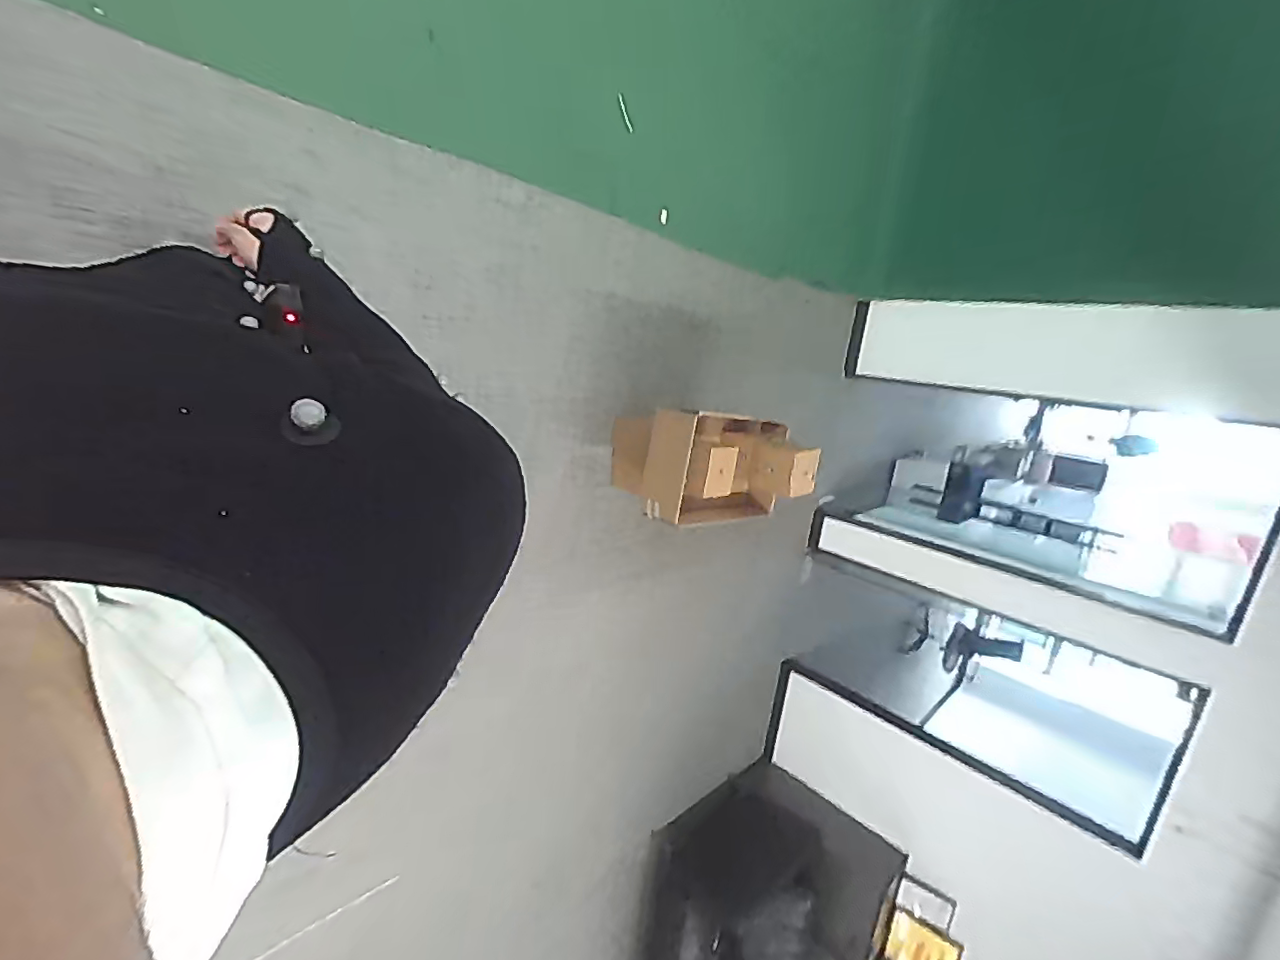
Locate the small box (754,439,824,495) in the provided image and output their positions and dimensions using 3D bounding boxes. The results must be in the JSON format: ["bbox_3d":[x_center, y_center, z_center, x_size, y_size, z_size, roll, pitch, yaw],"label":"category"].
[{"bbox_3d":[0.541,-0.051,1.978,0.179,0.176,0.168,-8,111,-42],"label":"small box"}]
